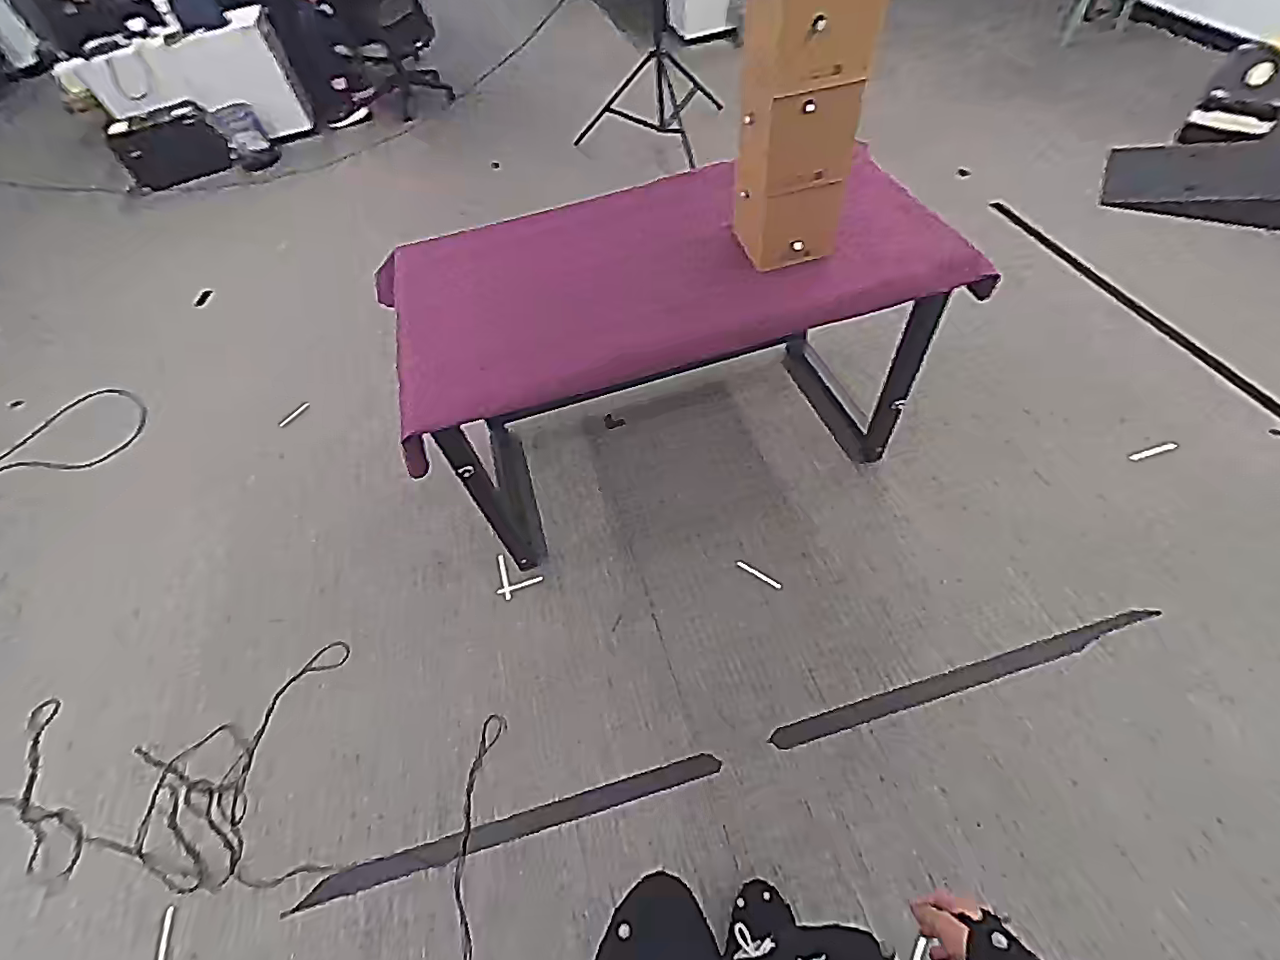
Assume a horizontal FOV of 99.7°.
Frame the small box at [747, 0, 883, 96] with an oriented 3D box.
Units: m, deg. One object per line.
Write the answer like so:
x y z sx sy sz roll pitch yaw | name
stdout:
0.277 -0.747 0.871 0.168 0.176 0.179 -13 55 -1 | small box

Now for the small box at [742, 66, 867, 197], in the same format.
0.293 -0.660 1.009 0.168 0.176 0.179 -13 54 -1 | small box

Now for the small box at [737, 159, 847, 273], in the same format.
0.309 -0.572 1.146 0.168 0.176 0.179 -15 55 -2 | small box
